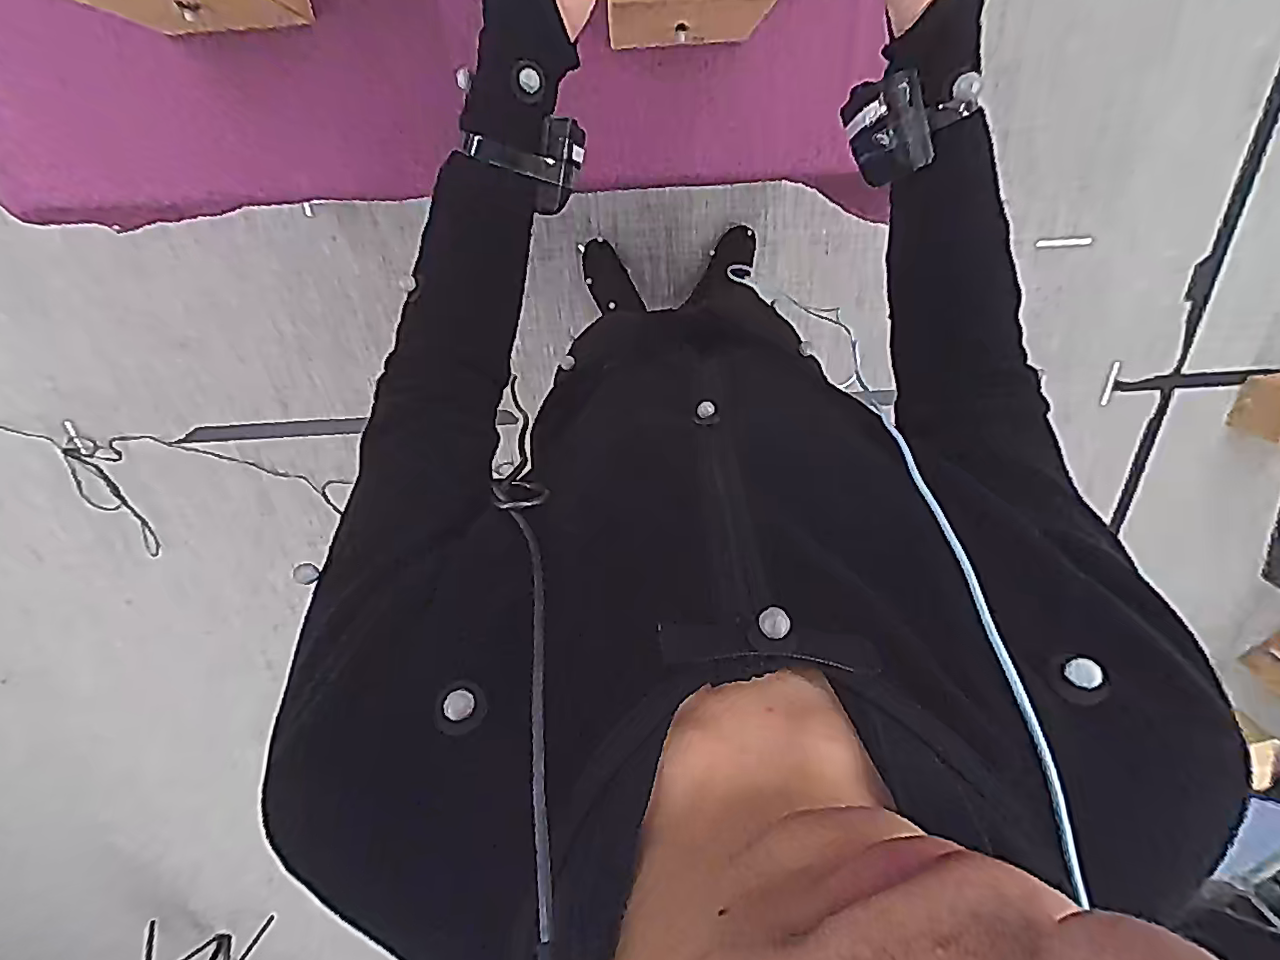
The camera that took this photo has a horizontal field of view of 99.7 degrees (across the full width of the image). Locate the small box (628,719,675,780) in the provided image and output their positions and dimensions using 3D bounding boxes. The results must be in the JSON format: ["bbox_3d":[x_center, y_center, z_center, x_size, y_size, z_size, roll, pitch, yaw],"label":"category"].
[{"bbox_3d":[0.044,1.117,2.249,0.179,0.176,0.168,2,117,-5],"label":"small box"}]

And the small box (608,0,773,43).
[{"bbox_3d":[0.046,-0.570,0.550,0.168,0.176,0.179,-4,117,-1],"label":"small box"}]
